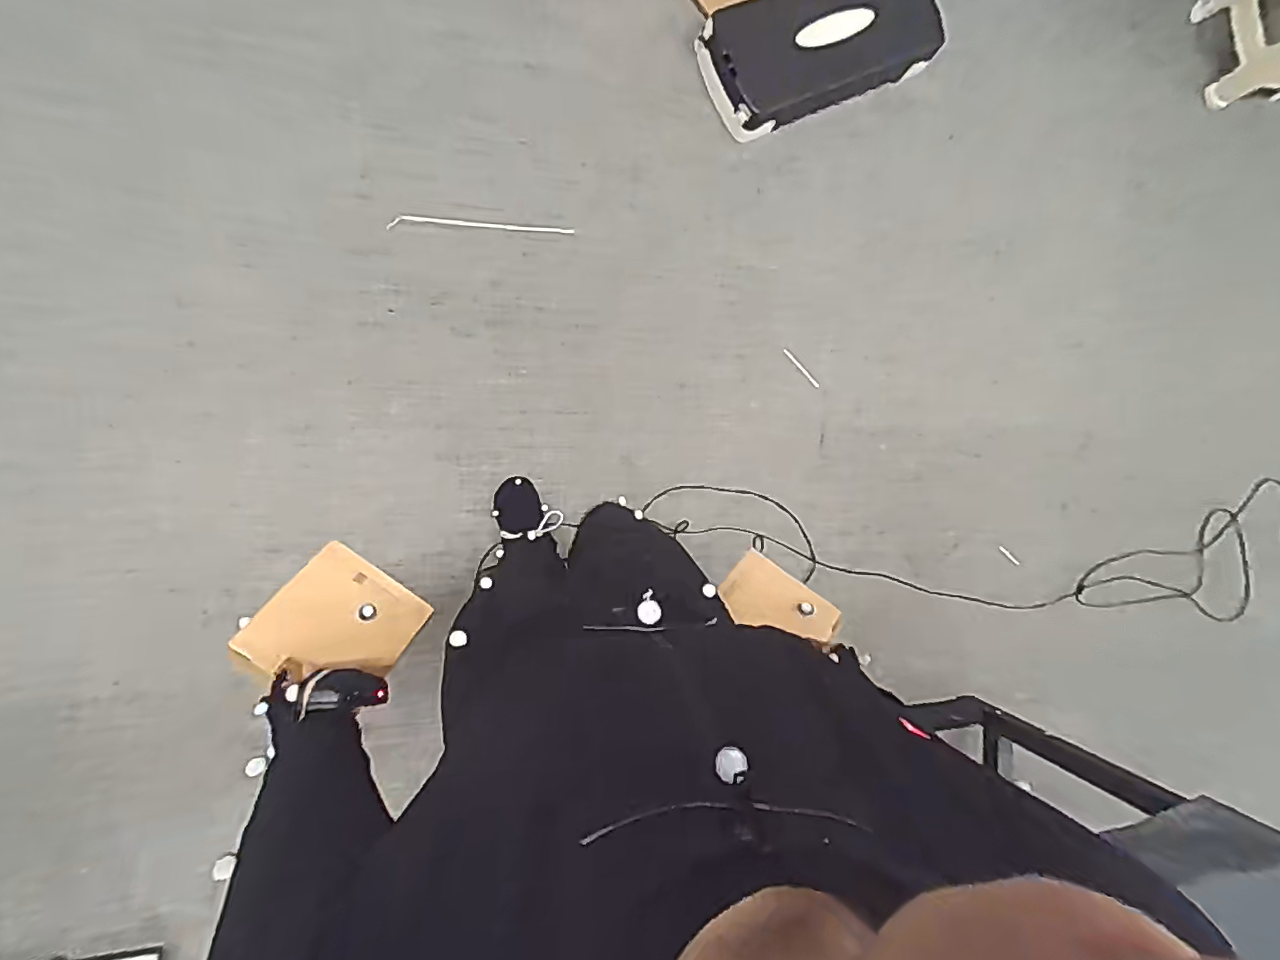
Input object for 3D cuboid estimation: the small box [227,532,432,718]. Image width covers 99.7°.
[{"bbox_3d":[-0.412,0.198,0.731,0.168,0.179,0.176,42,51,-13],"label":"small box"}]
